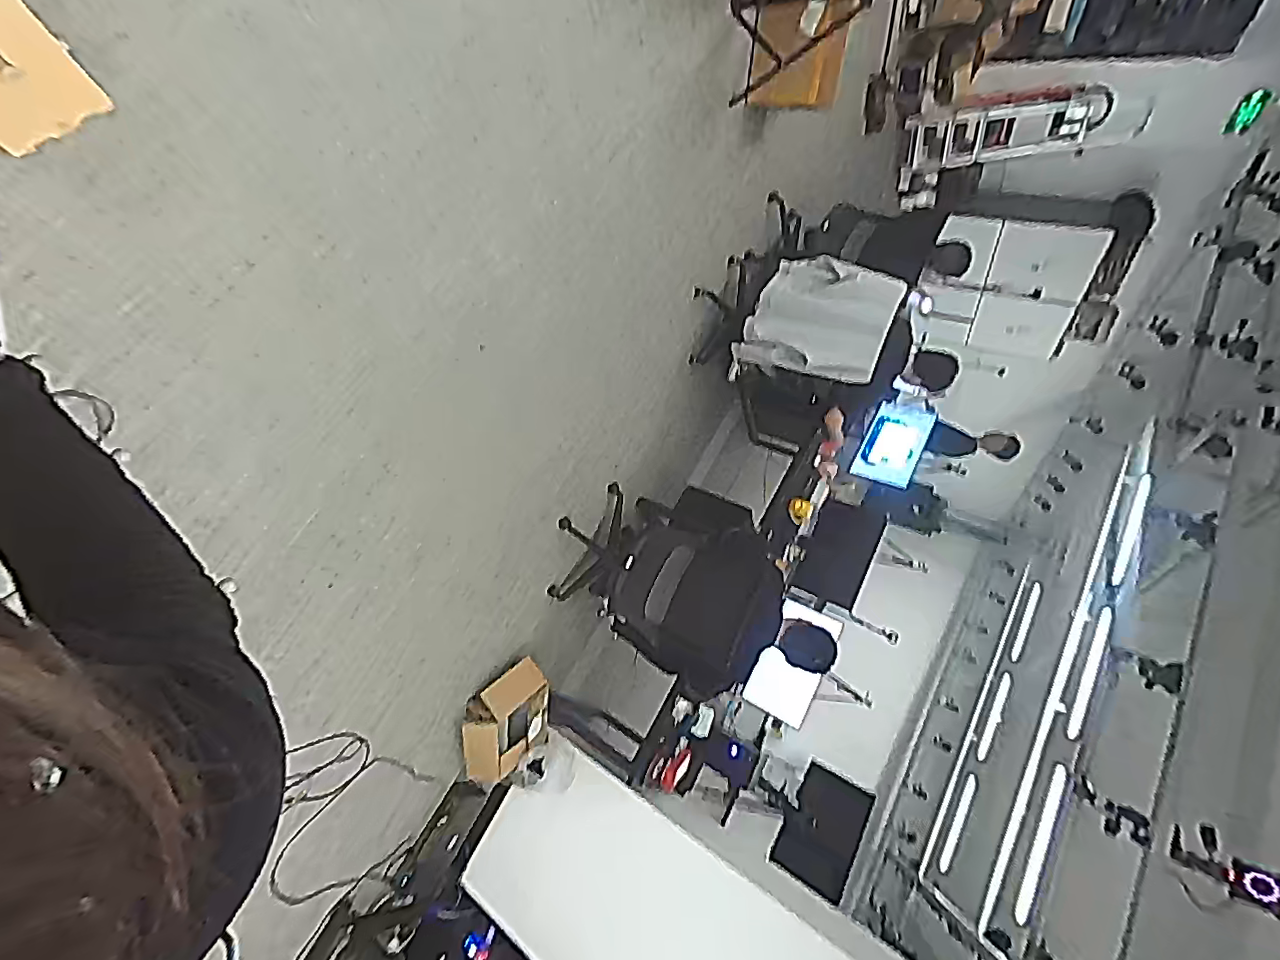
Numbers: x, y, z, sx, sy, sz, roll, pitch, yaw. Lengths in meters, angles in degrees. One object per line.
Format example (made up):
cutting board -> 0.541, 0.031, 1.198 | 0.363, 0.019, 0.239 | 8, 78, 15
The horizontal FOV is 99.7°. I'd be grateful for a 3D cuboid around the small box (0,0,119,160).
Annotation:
small box -> -0.961, -0.605, 0.804 | 0.168, 0.176, 0.179 | -56, 149, -23
